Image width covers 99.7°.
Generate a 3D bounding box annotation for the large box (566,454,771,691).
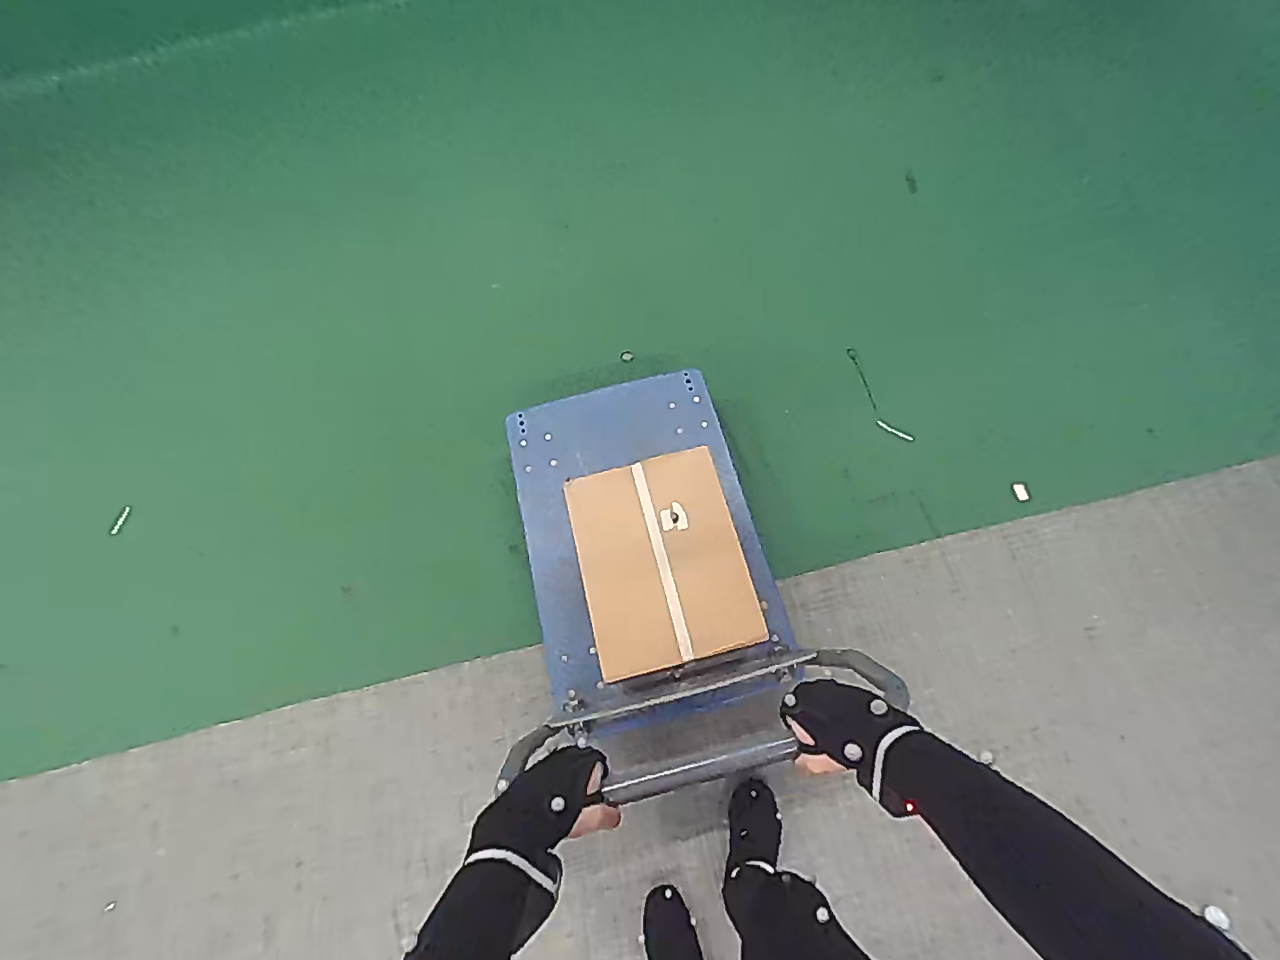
[{"bbox_3d":[0.054,0.216,1.185,0.320,0.320,0.408,-14,68,-3],"label":"large box"}]
